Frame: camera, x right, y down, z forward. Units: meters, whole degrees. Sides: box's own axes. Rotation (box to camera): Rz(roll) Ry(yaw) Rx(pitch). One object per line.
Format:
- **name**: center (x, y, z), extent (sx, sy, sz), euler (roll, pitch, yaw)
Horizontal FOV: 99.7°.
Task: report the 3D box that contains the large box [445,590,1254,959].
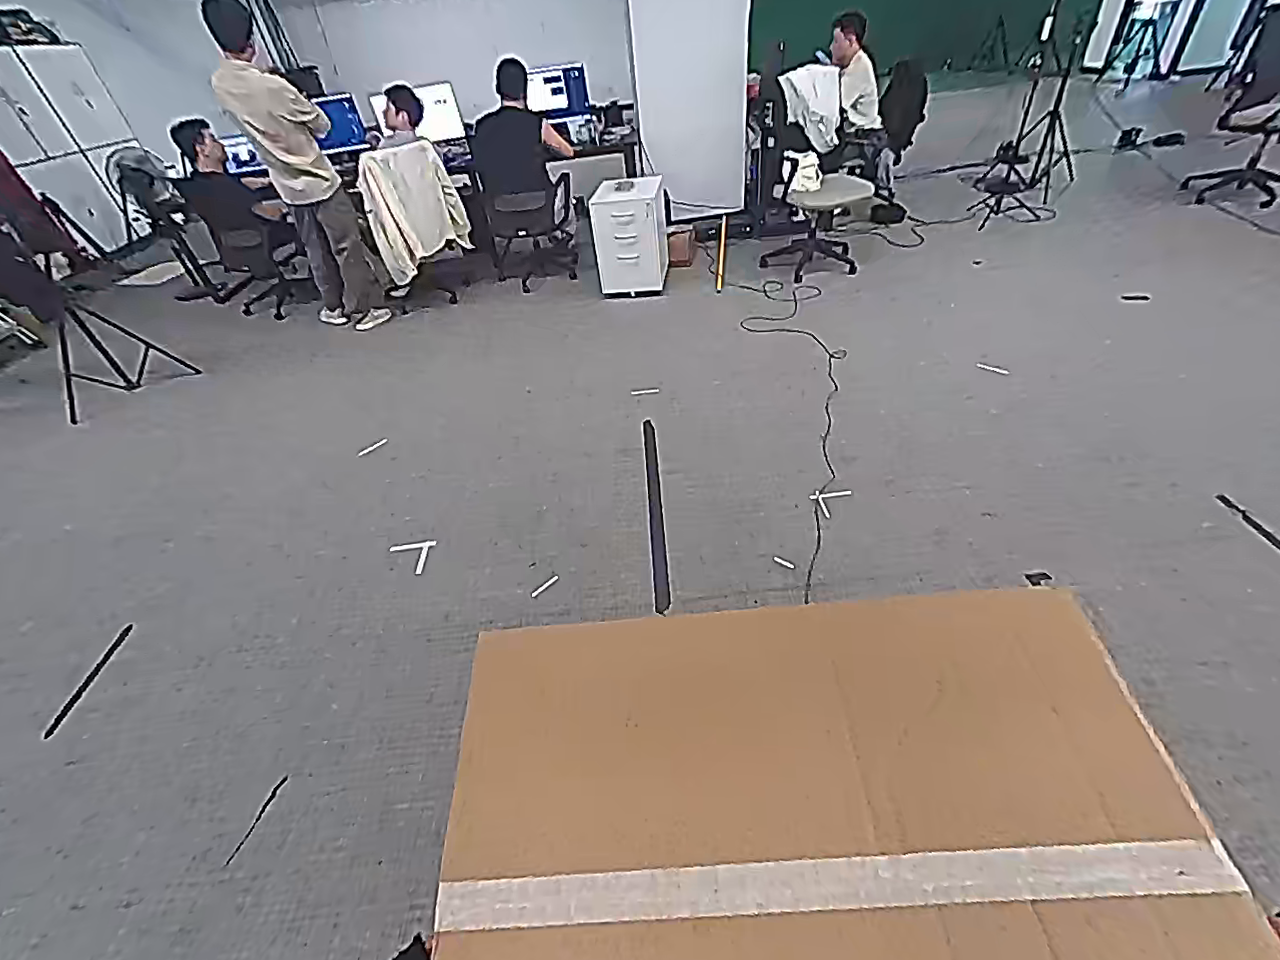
- **large box**: center (0.107, 0.310, 0.407), extent (0.408, 0.320, 0.320), euler (-6, 51, 4)
